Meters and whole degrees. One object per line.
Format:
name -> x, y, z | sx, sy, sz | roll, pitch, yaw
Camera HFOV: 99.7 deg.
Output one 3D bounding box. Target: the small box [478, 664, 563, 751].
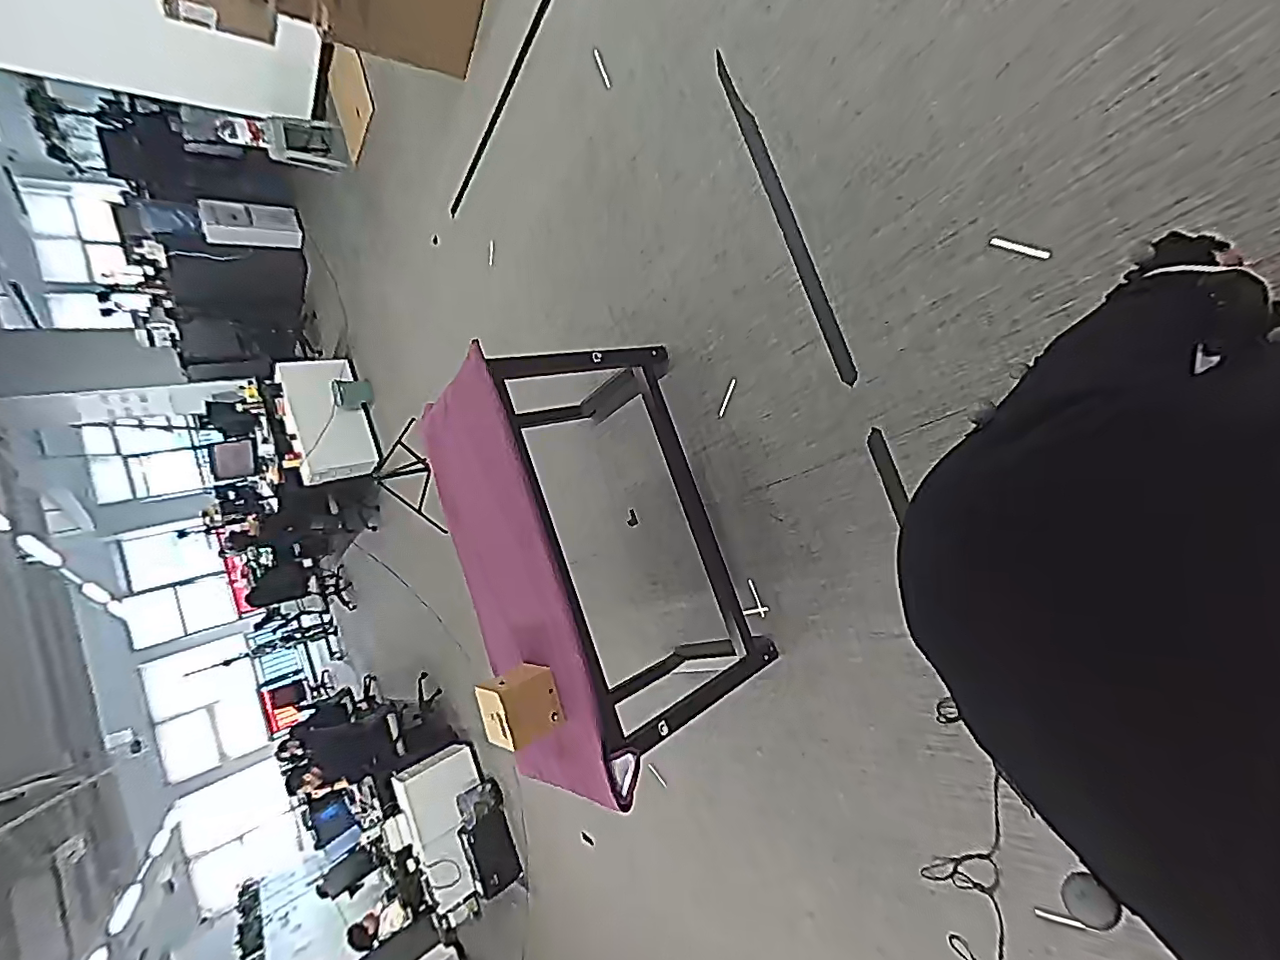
small box -> -0.336, 0.643, 1.553 | 0.179, 0.176, 0.168 | -17, 88, 51
